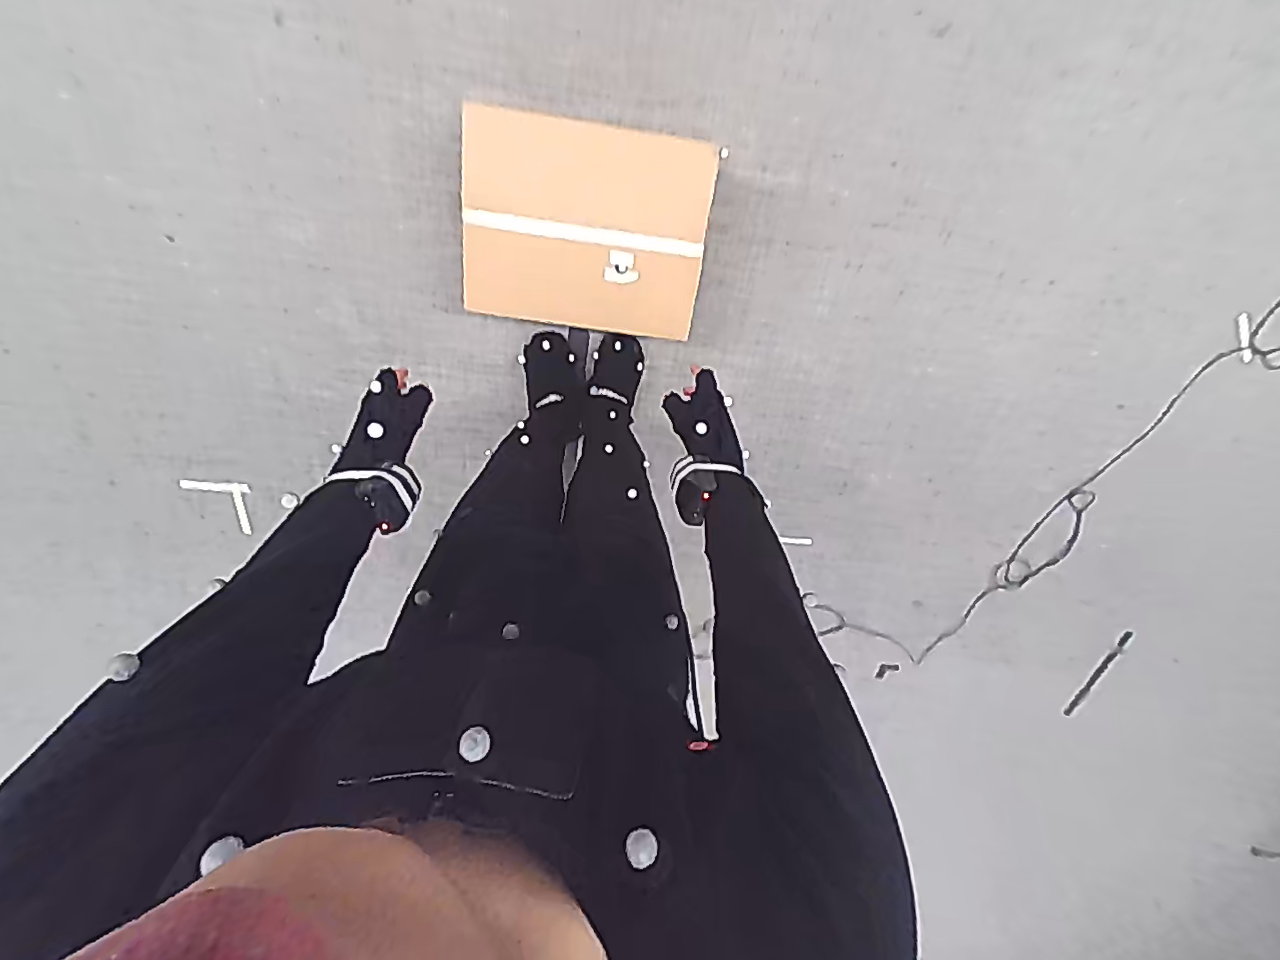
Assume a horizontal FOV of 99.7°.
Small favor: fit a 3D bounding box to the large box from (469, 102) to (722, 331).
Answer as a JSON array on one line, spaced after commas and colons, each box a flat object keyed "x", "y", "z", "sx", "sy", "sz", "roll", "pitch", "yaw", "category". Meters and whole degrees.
[{"x": -0.091, "y": -0.493, "z": 1.041, "sx": 0.408, "sy": 0.320, "sz": 0.320, "roll": 6, "pitch": 118, "yaw": -6, "category": "large box"}]
